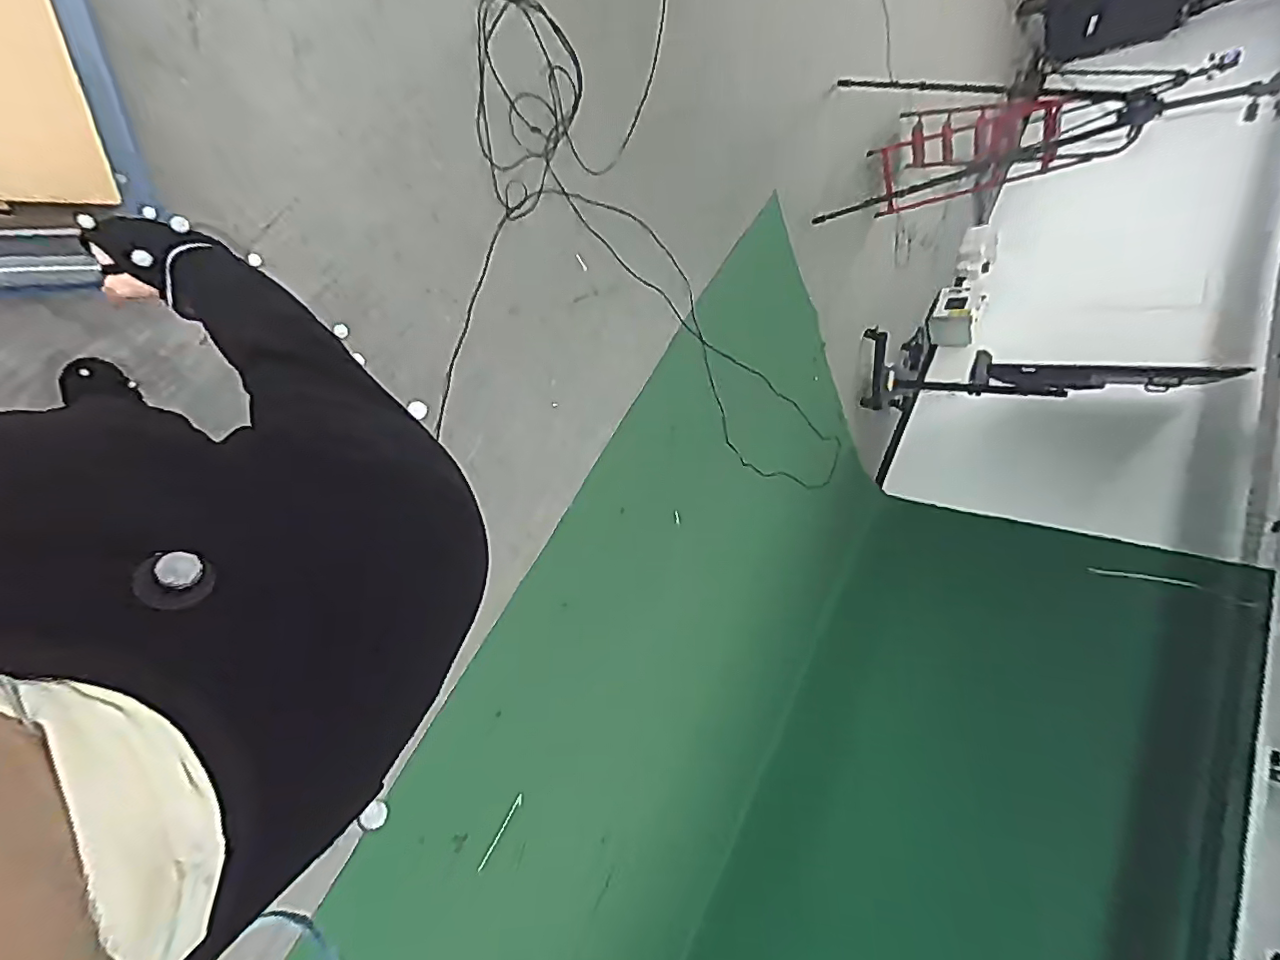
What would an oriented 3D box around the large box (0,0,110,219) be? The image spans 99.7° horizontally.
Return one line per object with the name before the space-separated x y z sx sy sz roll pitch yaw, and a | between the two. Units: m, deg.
large box | -1.027 -0.597 0.744 0.320 0.320 0.408 -25 118 -44
